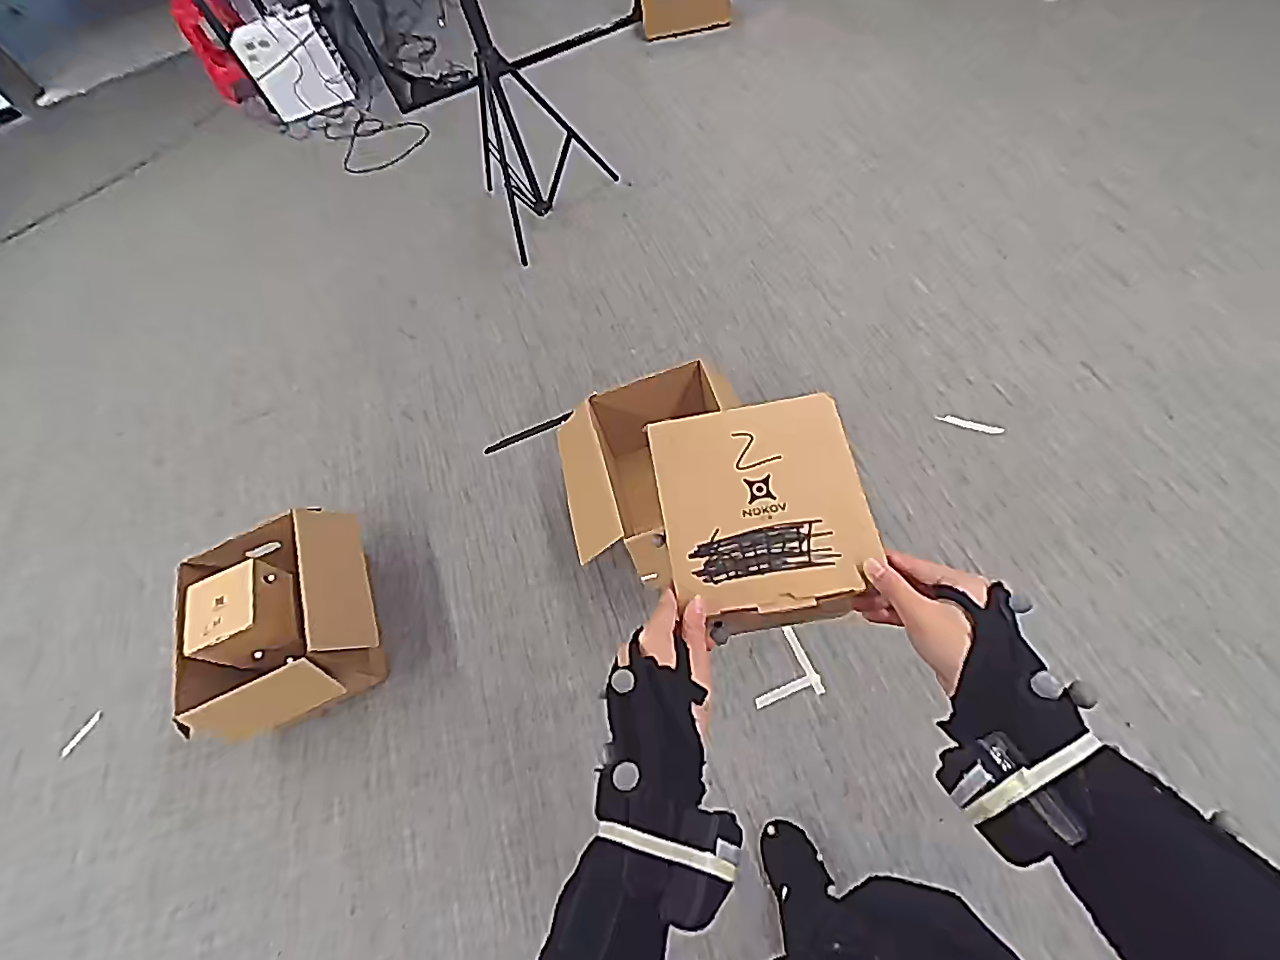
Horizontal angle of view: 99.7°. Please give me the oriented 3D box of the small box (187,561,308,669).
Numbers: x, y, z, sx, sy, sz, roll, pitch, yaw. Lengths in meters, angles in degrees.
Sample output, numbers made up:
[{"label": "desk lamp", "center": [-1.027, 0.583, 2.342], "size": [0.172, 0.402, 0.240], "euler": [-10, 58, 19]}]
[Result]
[{"label": "small box", "center": [-0.929, 0.328, 1.293], "size": [0.168, 0.176, 0.179], "euler": [-25, 59, -2]}]
